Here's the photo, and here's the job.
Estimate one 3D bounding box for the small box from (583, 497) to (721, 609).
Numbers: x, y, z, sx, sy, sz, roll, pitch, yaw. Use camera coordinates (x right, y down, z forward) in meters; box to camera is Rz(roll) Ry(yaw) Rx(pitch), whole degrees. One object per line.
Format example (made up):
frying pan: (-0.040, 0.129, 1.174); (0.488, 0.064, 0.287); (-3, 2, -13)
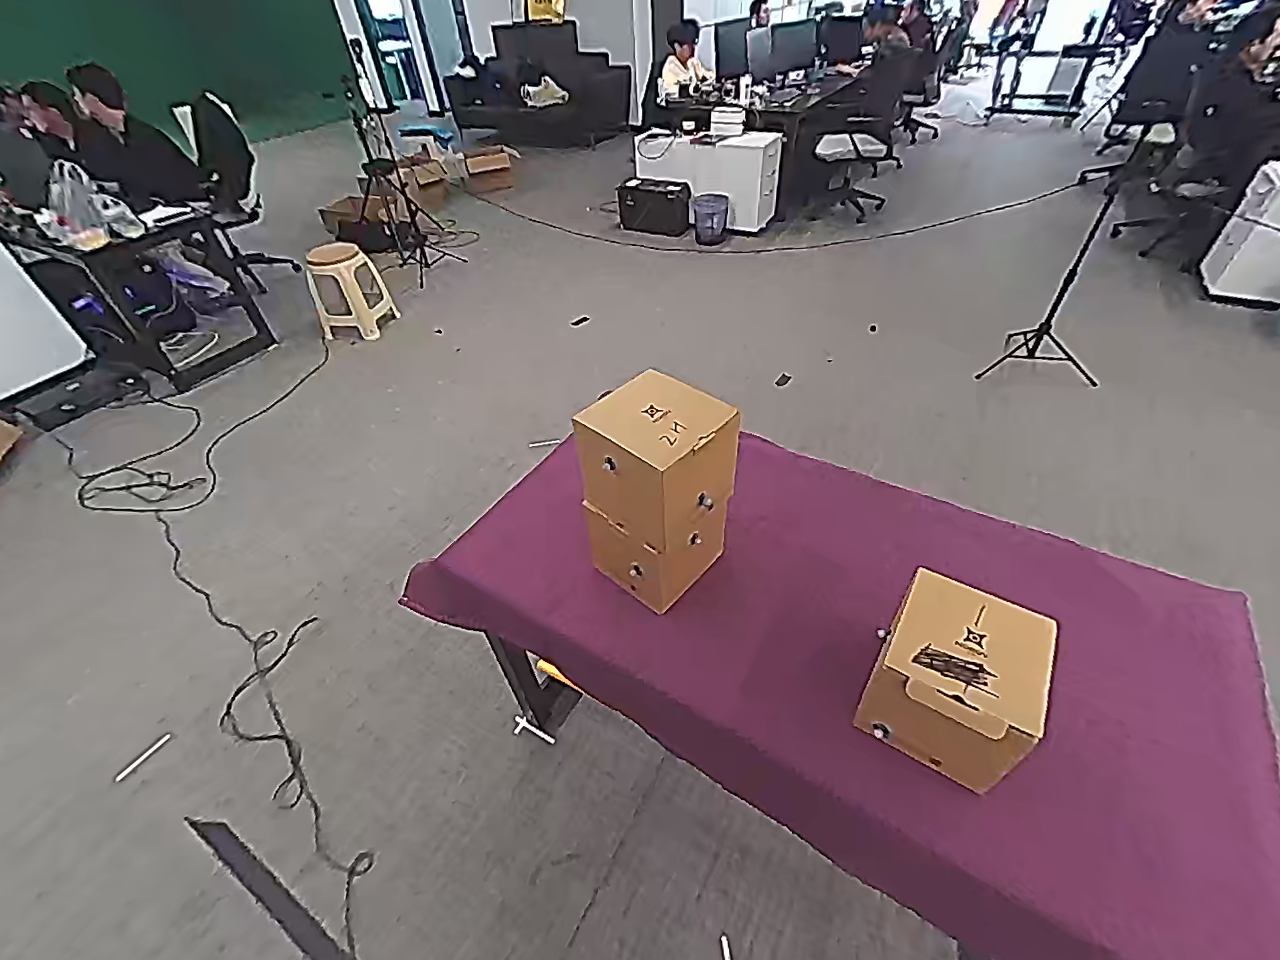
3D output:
small box: (0.029, 0.086, 0.924); (0.168, 0.176, 0.179); (31, 53, 31)

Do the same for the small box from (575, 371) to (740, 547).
small box: (0.026, -0.032, 0.810); (0.179, 0.176, 0.168); (33, 55, 31)

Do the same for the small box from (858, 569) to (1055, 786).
small box: (0.403, 0.258, 0.709); (0.168, 0.176, 0.179); (23, 49, 26)
